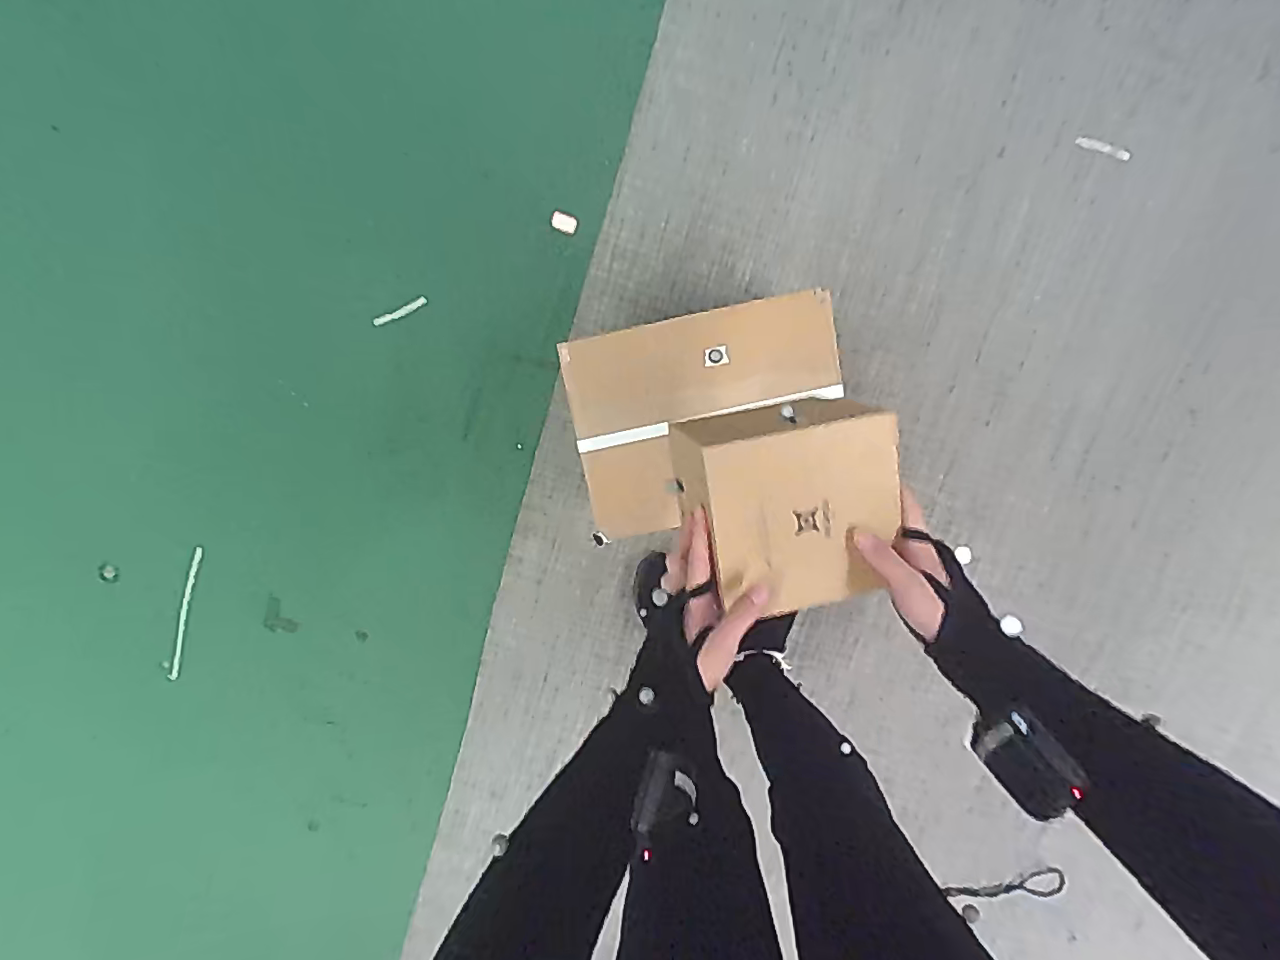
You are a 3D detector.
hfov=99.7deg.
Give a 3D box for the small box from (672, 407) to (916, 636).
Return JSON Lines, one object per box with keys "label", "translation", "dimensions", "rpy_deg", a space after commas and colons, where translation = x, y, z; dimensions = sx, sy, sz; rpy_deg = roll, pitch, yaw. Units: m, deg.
{"label": "small box", "translation": [0.141, 0.025, 0.534], "dimensions": [0.179, 0.176, 0.168], "rpy_deg": [-10, 104, -6]}
